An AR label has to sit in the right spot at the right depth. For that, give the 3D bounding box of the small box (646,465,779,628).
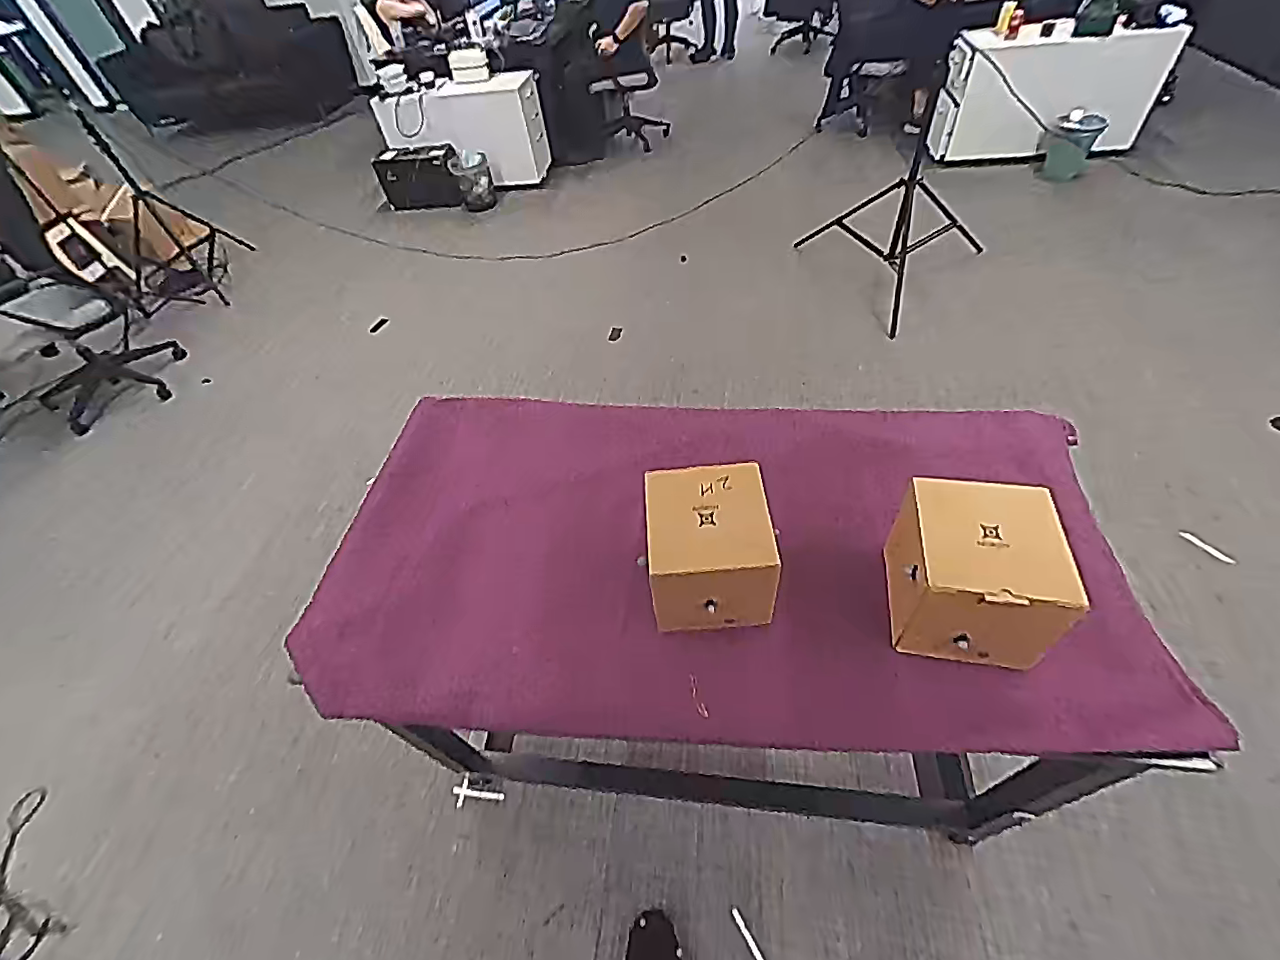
[{"bbox_3d":[0.100,0.103,0.786,0.168,0.176,0.179,-5,48,3],"label":"small box"}]

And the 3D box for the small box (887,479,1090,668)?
[{"bbox_3d":[0.439,0.123,0.720,0.168,0.176,0.179,5,49,13],"label":"small box"}]
